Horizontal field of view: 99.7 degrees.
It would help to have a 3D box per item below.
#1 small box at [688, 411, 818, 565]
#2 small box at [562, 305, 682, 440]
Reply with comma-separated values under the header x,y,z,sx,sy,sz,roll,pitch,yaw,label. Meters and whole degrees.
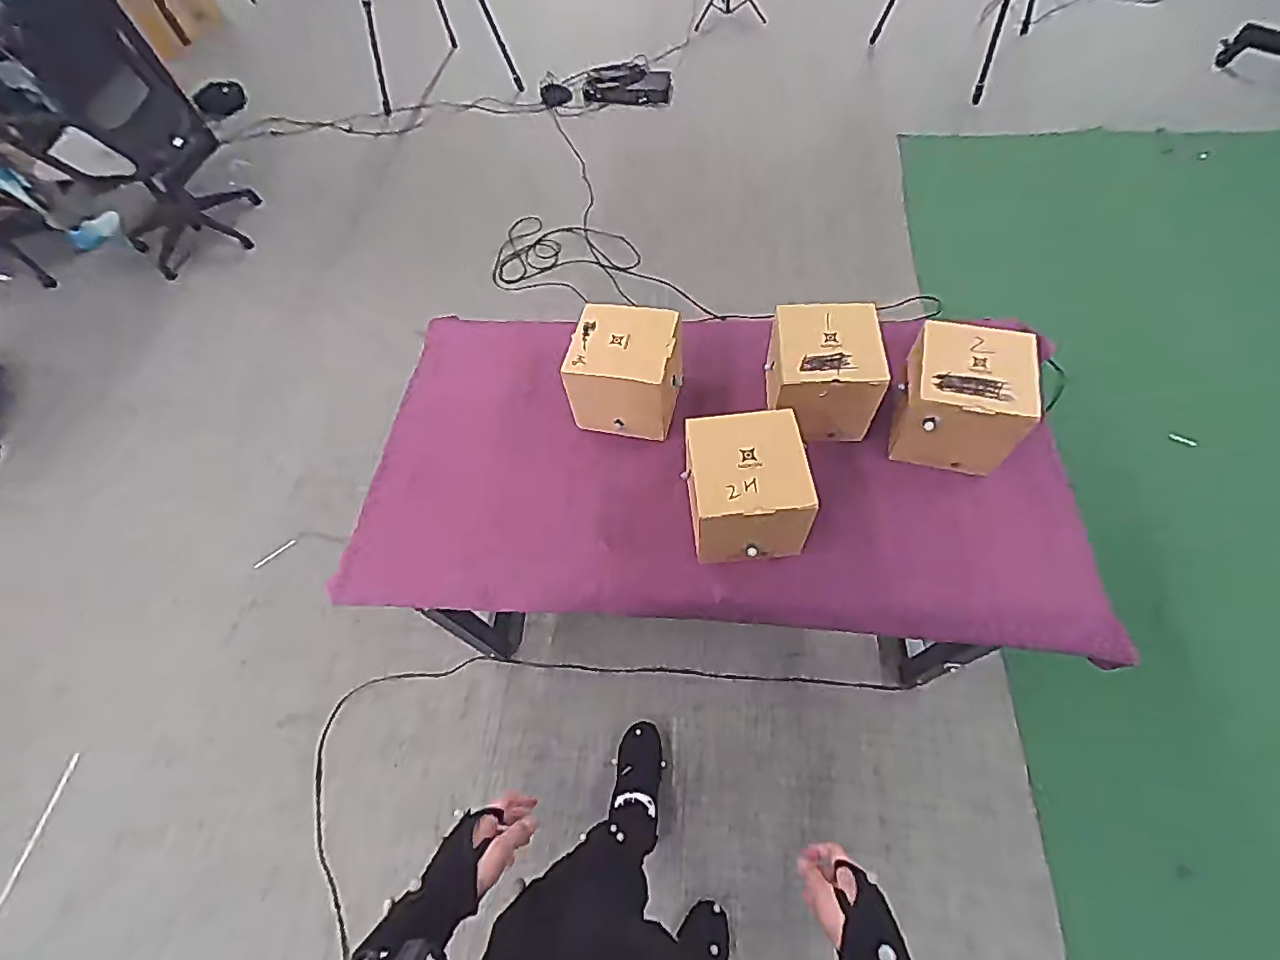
x,y,z,sx,sy,sz,roll,pitch,yaw,label
0.164,0.017,0.850,0.168,0.176,0.179,-6,58,3,small box
-0.023,-0.190,0.990,0.179,0.176,0.168,10,62,11,small box
